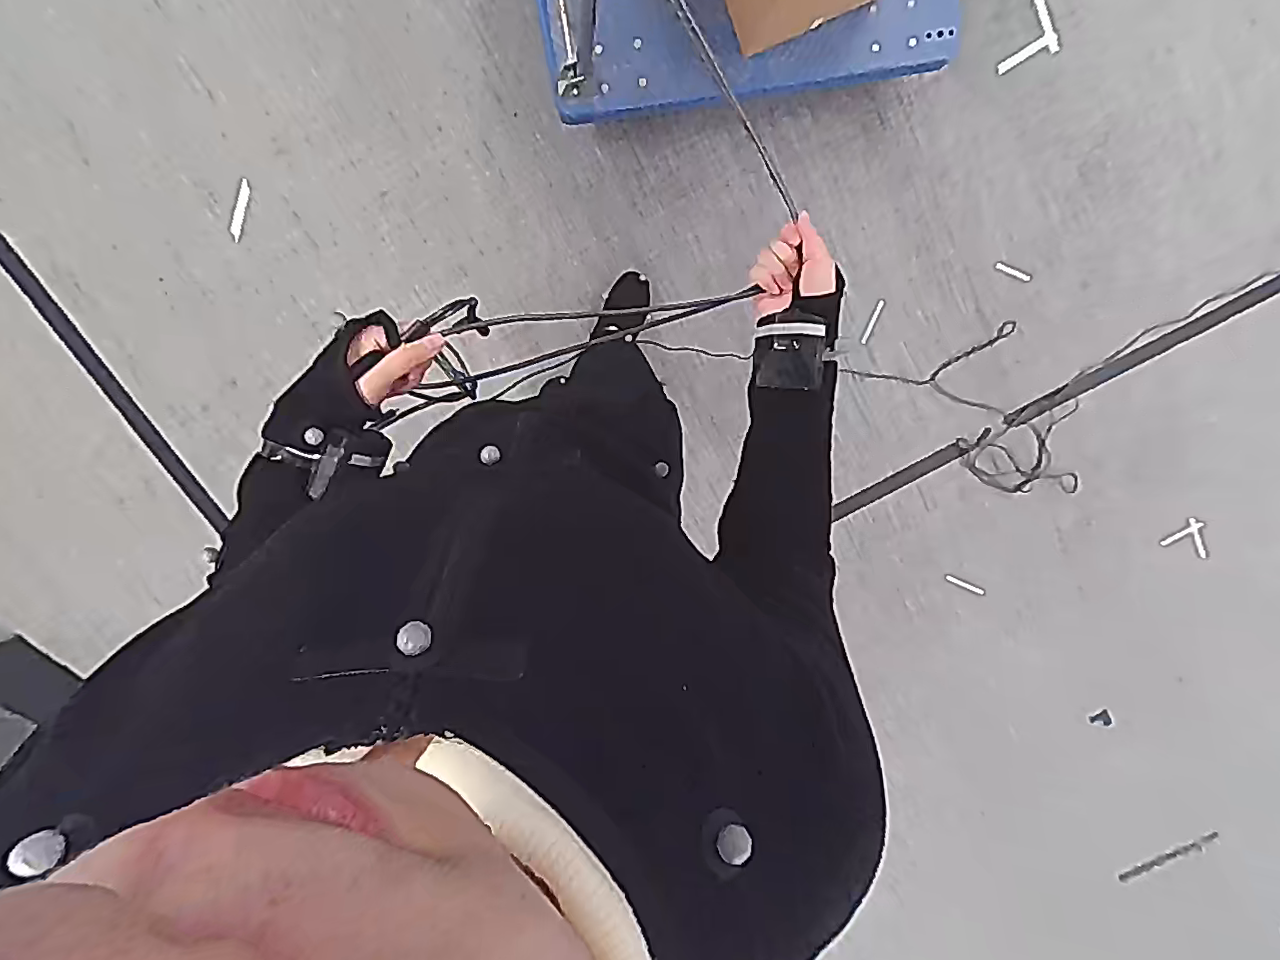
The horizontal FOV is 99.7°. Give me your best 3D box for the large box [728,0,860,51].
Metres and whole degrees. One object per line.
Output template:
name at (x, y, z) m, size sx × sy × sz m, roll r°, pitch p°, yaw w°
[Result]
large box at (0.287, -1.075, 0.916) m, size 0.320 × 0.320 × 0.408 m, roll -24°, pitch 106°, yaw 3°
